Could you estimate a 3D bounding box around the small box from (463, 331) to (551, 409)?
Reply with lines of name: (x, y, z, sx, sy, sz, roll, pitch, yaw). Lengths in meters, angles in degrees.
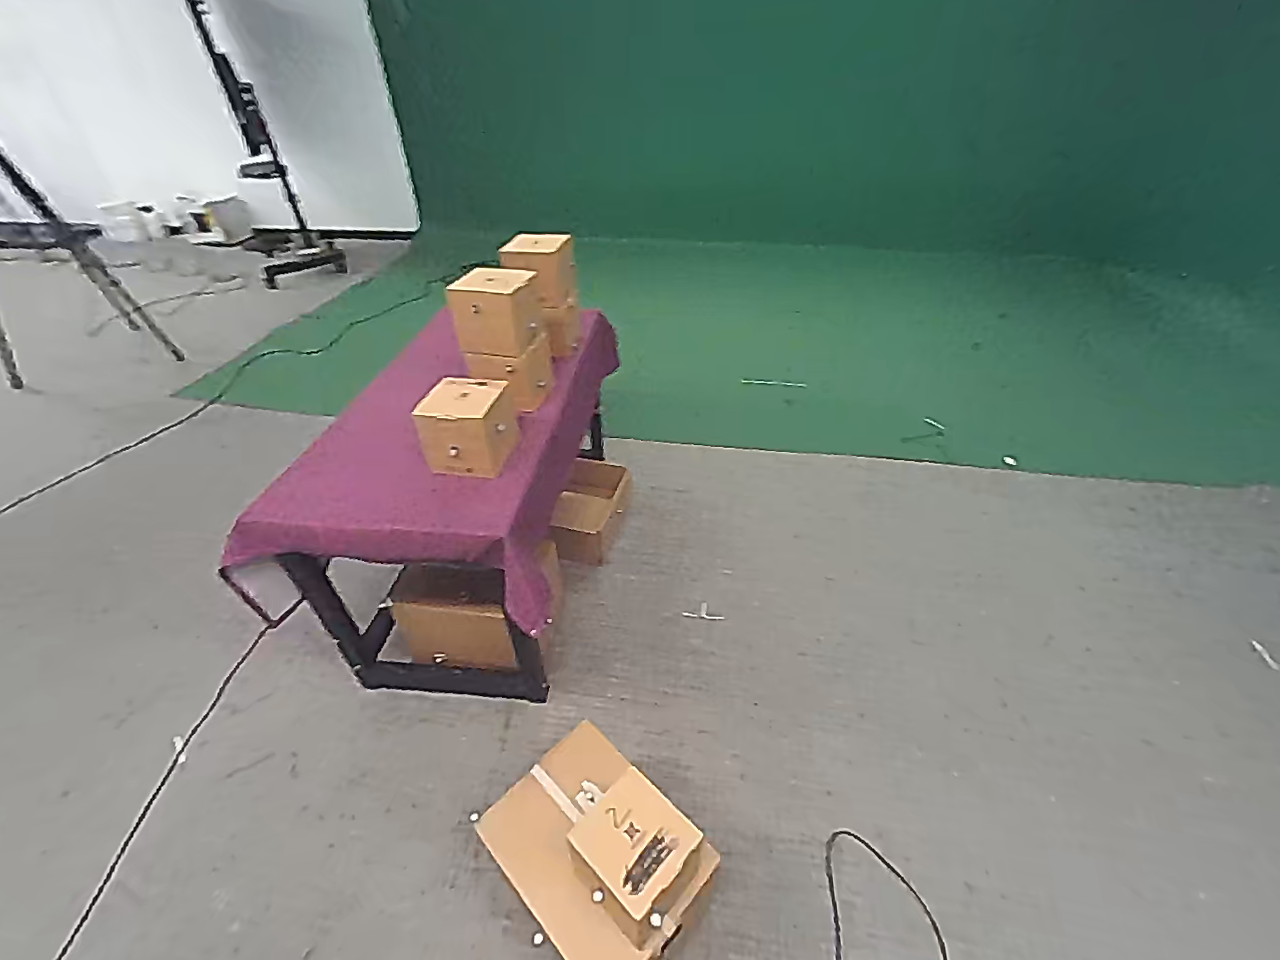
small box: (-0.366, -0.315, 1.522, 0.179, 0.176, 0.168, 9, 41, 11)

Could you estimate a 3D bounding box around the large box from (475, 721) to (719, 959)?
large box: (-0.083, 0.828, 1.165, 0.408, 0.320, 0.320, 30, 48, 34)

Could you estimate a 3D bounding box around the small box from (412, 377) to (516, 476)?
small box: (-0.408, -0.128, 1.294, 0.168, 0.176, 0.179, 5, 41, 8)

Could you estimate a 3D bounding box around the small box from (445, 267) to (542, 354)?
small box: (-0.377, -0.444, 1.419, 0.179, 0.176, 0.168, 9, 42, 12)

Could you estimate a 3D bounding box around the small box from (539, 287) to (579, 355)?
small box: (-0.305, -0.520, 1.762, 0.179, 0.176, 0.168, 4, 40, 9)

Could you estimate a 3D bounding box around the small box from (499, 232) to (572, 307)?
small box: (-0.311, -0.648, 1.662, 0.168, 0.176, 0.179, 5, 41, 10)
